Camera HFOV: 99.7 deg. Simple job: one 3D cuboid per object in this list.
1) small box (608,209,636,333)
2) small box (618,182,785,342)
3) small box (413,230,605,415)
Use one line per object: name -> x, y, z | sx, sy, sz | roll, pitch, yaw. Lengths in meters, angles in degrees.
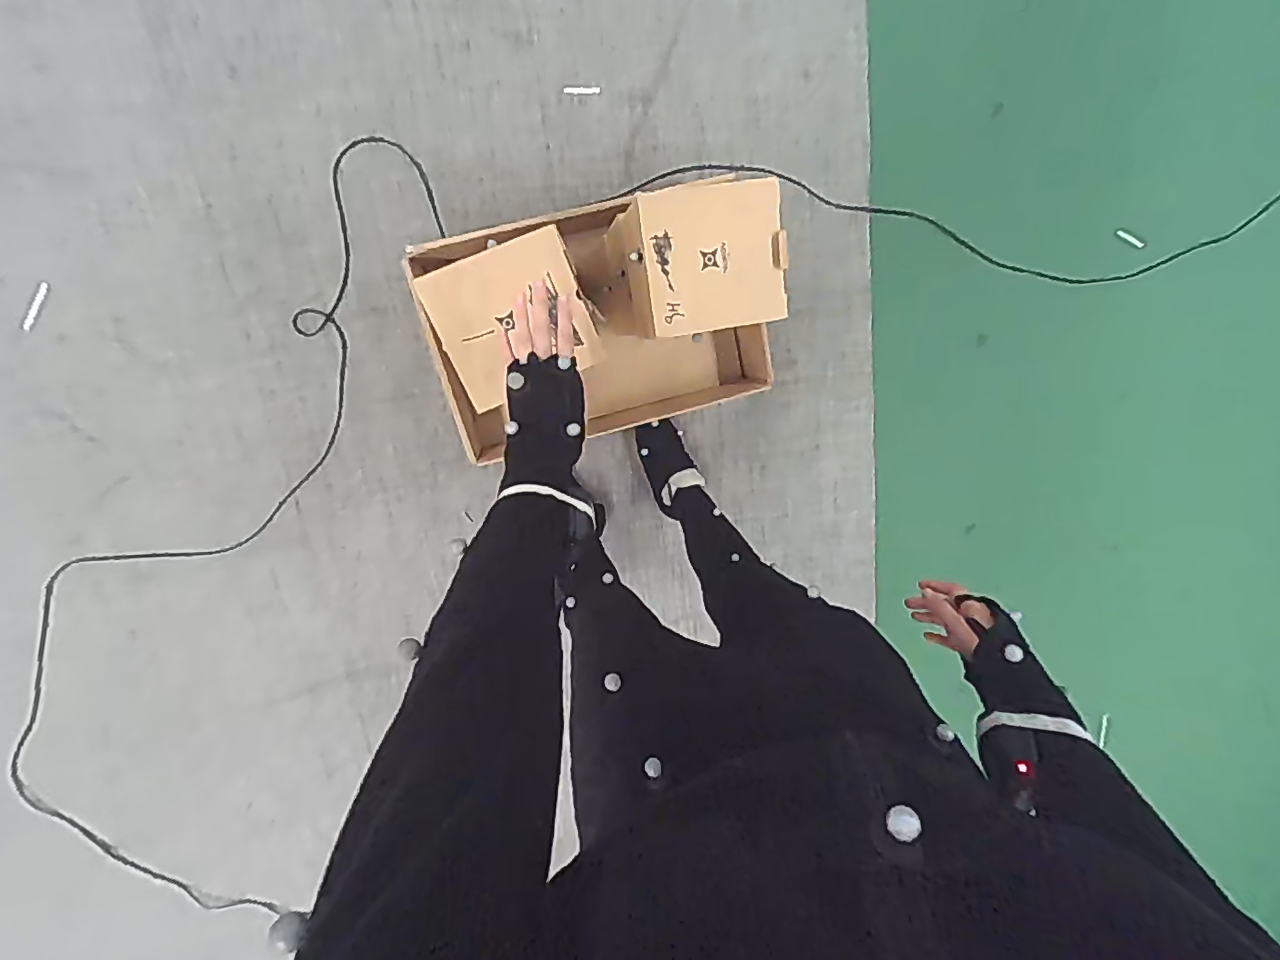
small box -> 0.048, -0.339, 0.880 | 0.168, 0.176, 0.179 | -13, 107, -5
small box -> 0.075, -0.283, 0.727 | 0.179, 0.176, 0.168 | -11, 106, -7
small box -> -0.165, -0.204, 0.709 | 0.179, 0.176, 0.168 | -24, 108, -3
